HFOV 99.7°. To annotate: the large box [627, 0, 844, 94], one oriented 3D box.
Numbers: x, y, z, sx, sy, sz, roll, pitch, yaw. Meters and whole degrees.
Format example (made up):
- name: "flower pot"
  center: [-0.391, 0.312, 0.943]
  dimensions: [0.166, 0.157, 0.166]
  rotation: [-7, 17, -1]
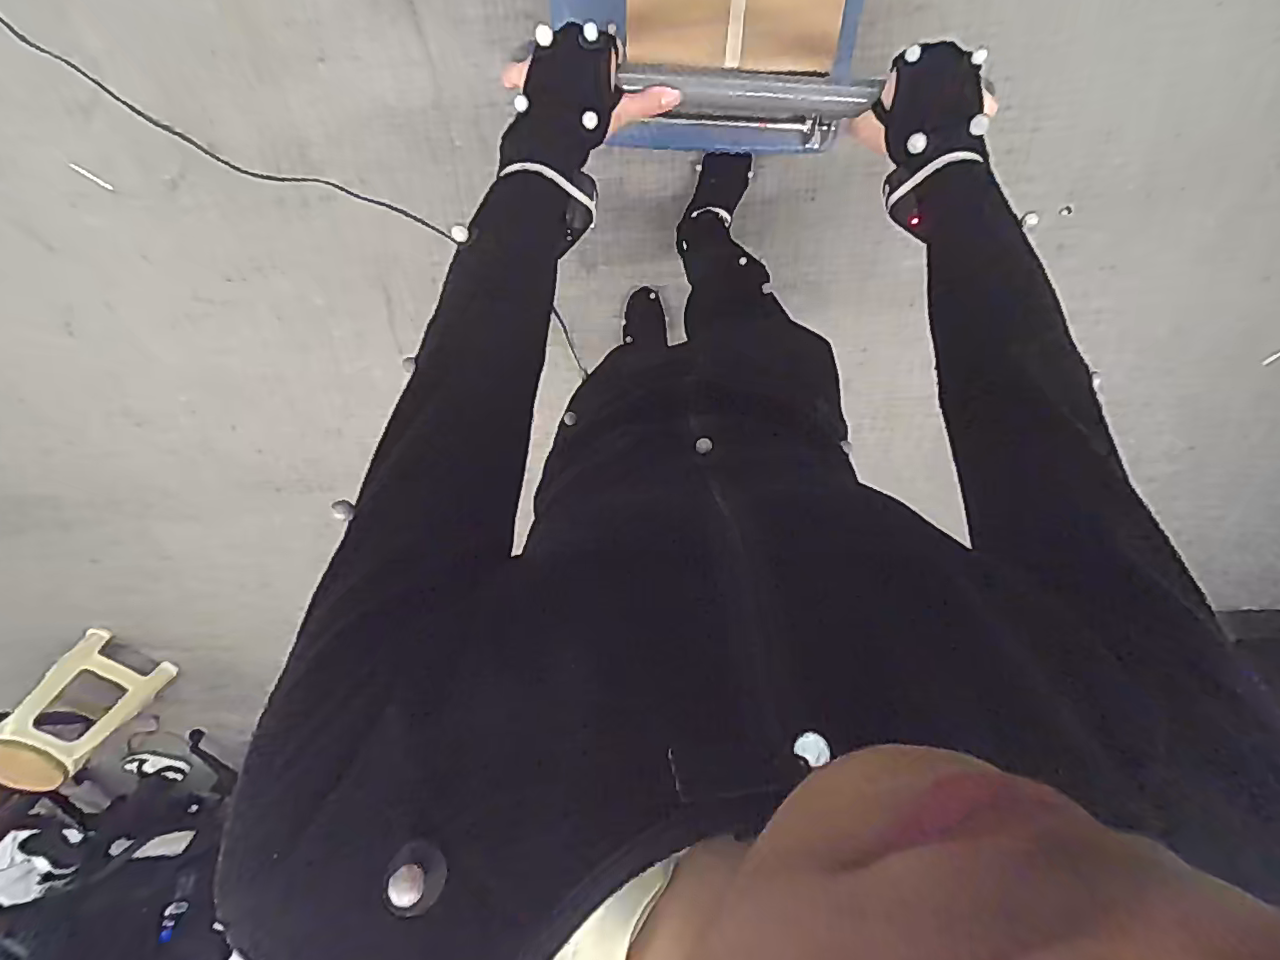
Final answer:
- name: "large box"
  center: [0.144, -0.860, 0.843]
  dimensions: [0.320, 0.320, 0.408]
  rotation: [2, 121, -1]
